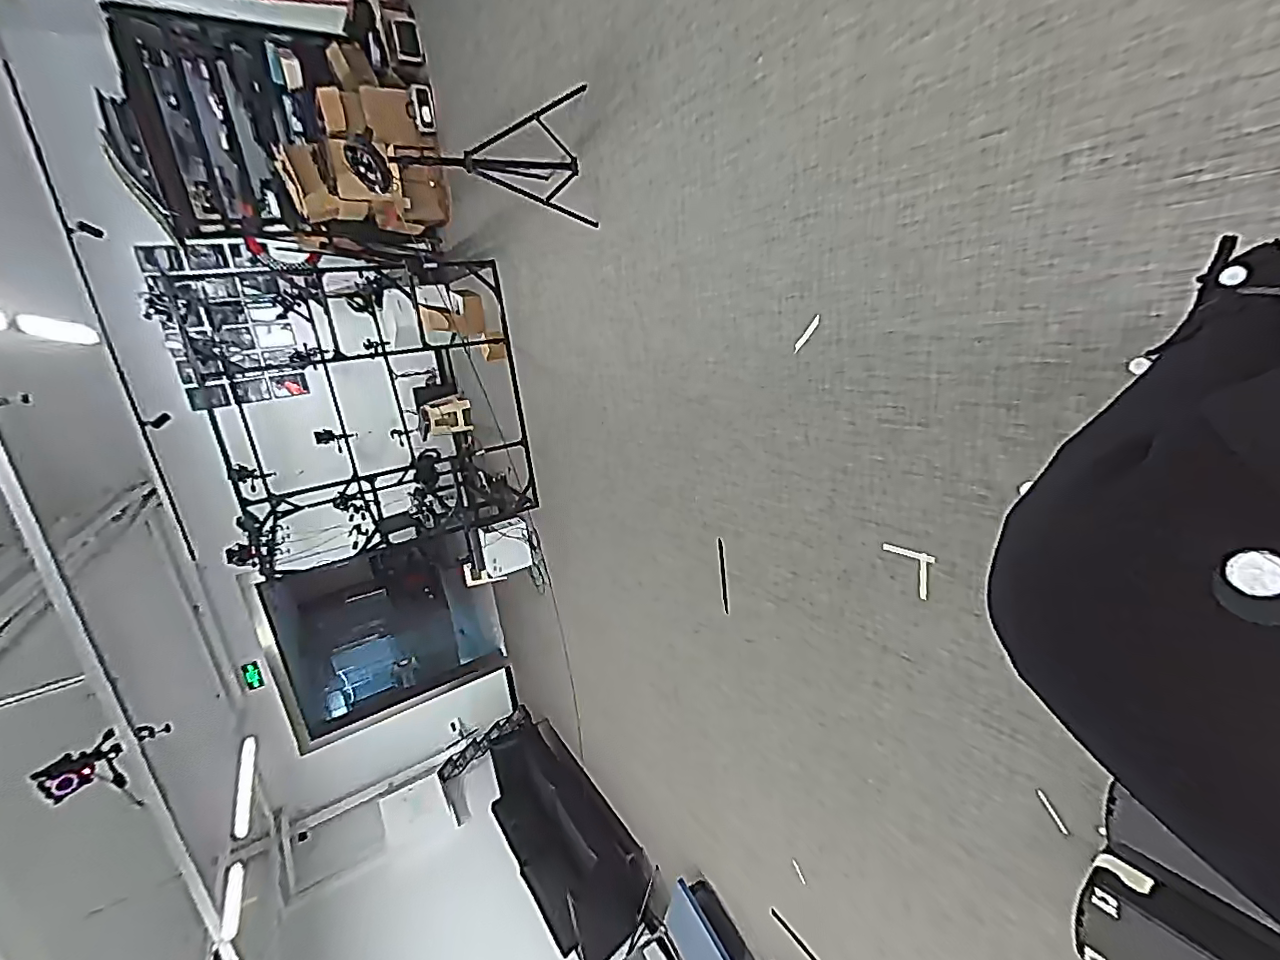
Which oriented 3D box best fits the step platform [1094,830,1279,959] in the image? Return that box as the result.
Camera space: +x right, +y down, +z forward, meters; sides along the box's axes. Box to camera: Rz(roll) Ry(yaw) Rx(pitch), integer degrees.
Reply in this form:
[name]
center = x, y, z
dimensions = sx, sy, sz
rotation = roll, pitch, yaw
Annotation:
[step platform]
center = 1.356, 1.080, 1.086
dimensions = 0.684, 0.204, 0.286
rotation = 19, 120, 57
